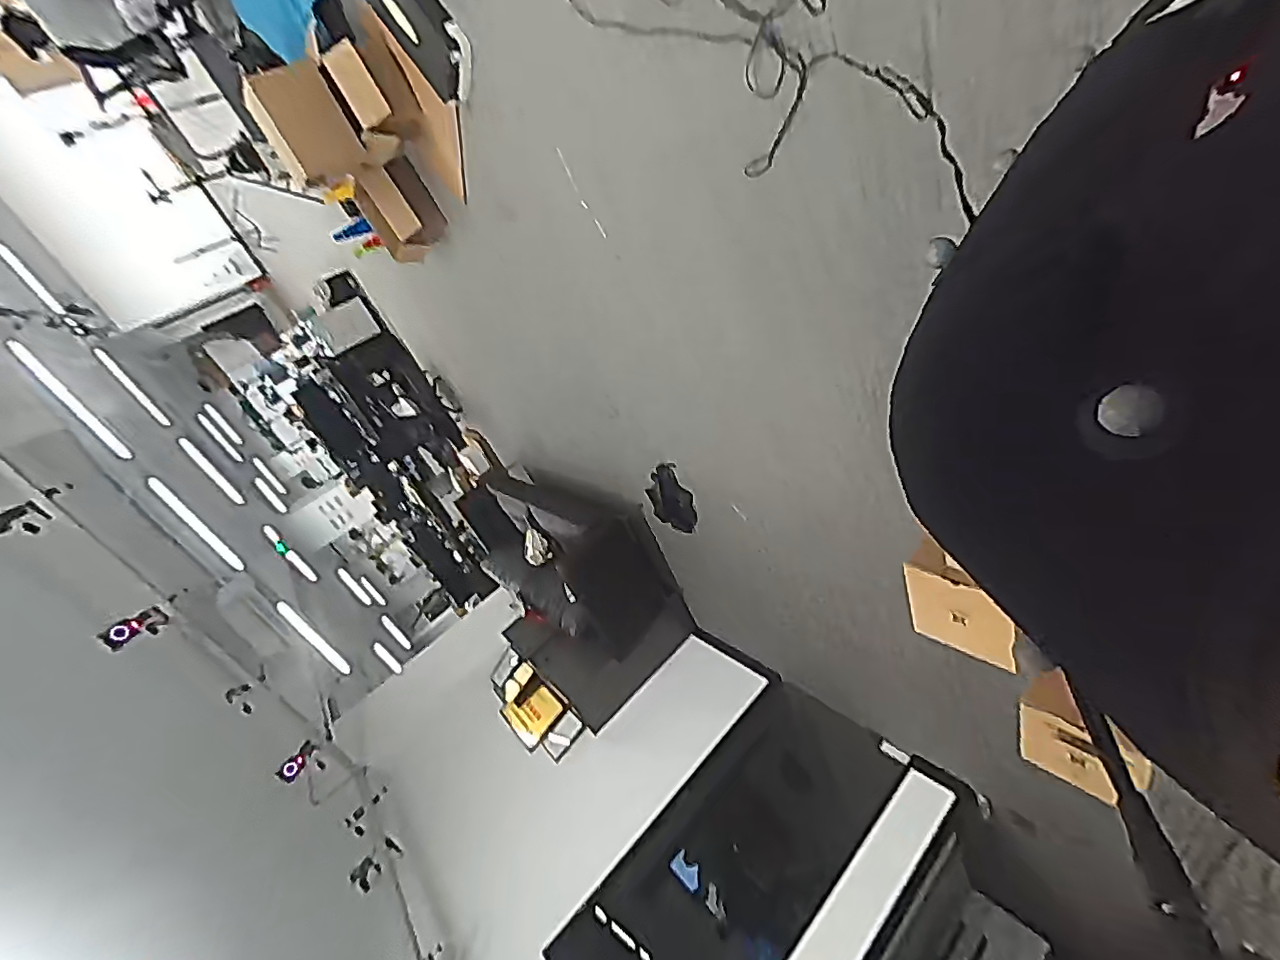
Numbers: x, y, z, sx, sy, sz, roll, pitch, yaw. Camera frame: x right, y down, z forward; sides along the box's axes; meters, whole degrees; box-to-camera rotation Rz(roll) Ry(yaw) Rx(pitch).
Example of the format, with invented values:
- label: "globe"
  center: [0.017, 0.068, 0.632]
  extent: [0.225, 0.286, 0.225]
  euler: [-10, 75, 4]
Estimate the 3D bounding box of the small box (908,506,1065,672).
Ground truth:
- label: "small box"
  center: [0.580, 0.174, 0.902]
  extent: [0.168, 0.176, 0.179]
  euler: [19, 141, 51]
